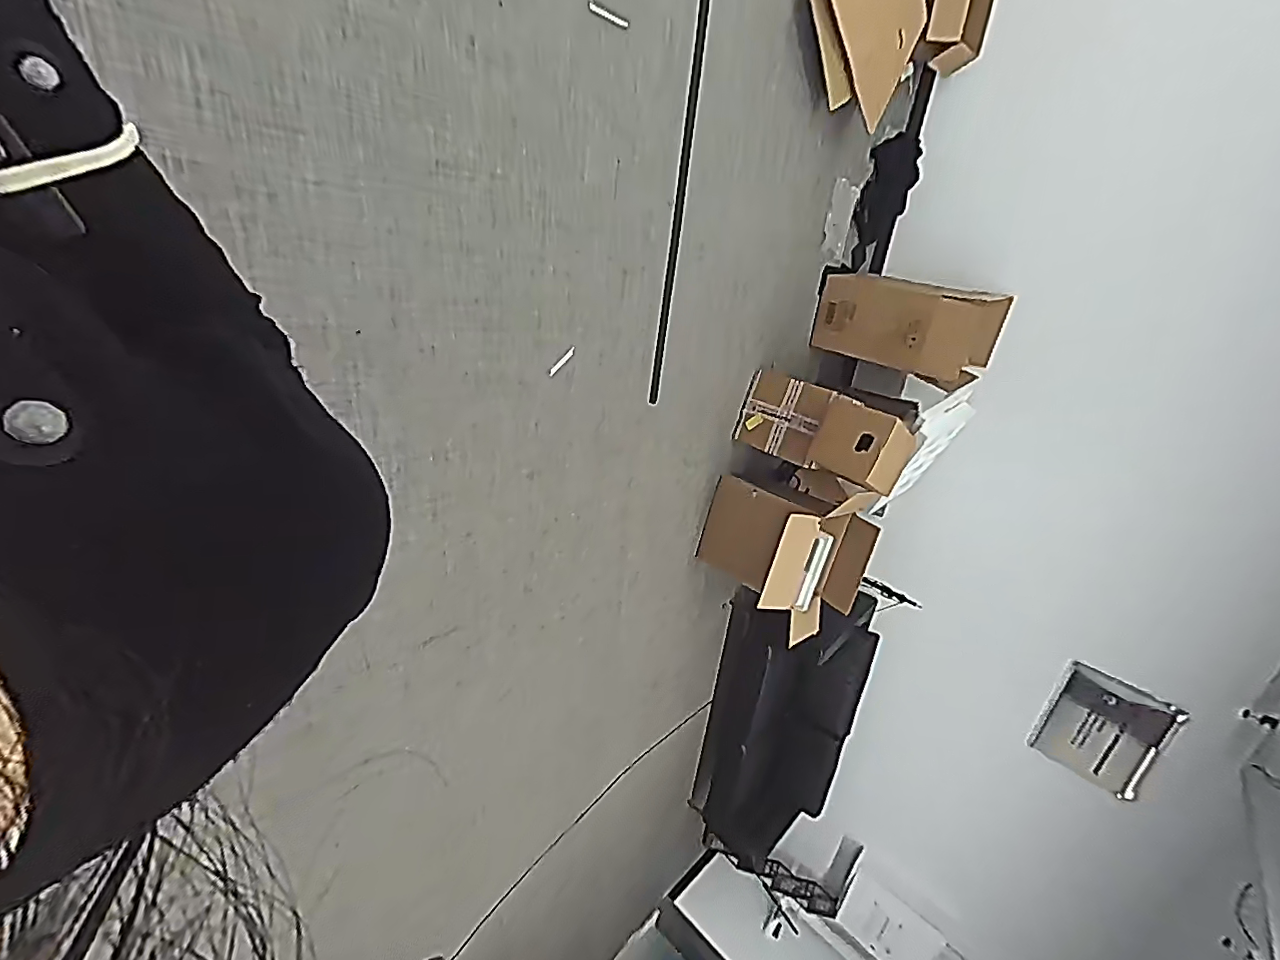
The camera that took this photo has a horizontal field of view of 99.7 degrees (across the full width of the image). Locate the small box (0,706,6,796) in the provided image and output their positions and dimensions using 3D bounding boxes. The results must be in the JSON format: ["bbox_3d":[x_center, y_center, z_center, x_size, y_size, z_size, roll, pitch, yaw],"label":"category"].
[{"bbox_3d":[-0.784,0.281,0.540,0.179,0.176,0.168,-14,121,-46],"label":"small box"}]

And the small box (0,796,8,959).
[{"bbox_3d":[-0.668,0.338,0.443,0.179,0.176,0.168,-13,120,-46],"label":"small box"}]
